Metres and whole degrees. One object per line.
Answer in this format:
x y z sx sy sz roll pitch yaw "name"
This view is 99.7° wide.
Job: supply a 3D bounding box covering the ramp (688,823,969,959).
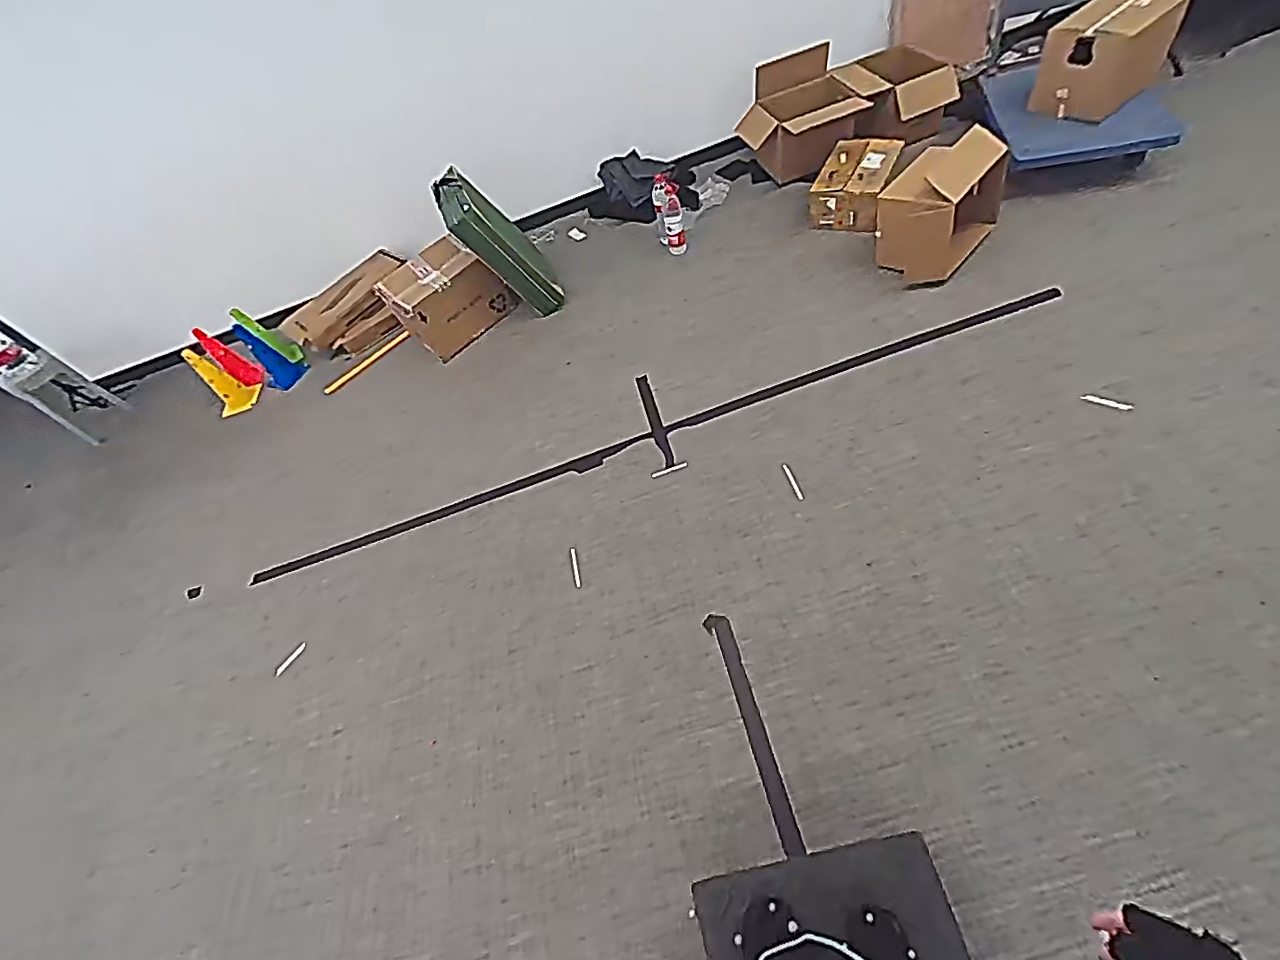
0.446 1.200 0.910 0.509 0.206 0.991 -18 53 3 "ramp"
